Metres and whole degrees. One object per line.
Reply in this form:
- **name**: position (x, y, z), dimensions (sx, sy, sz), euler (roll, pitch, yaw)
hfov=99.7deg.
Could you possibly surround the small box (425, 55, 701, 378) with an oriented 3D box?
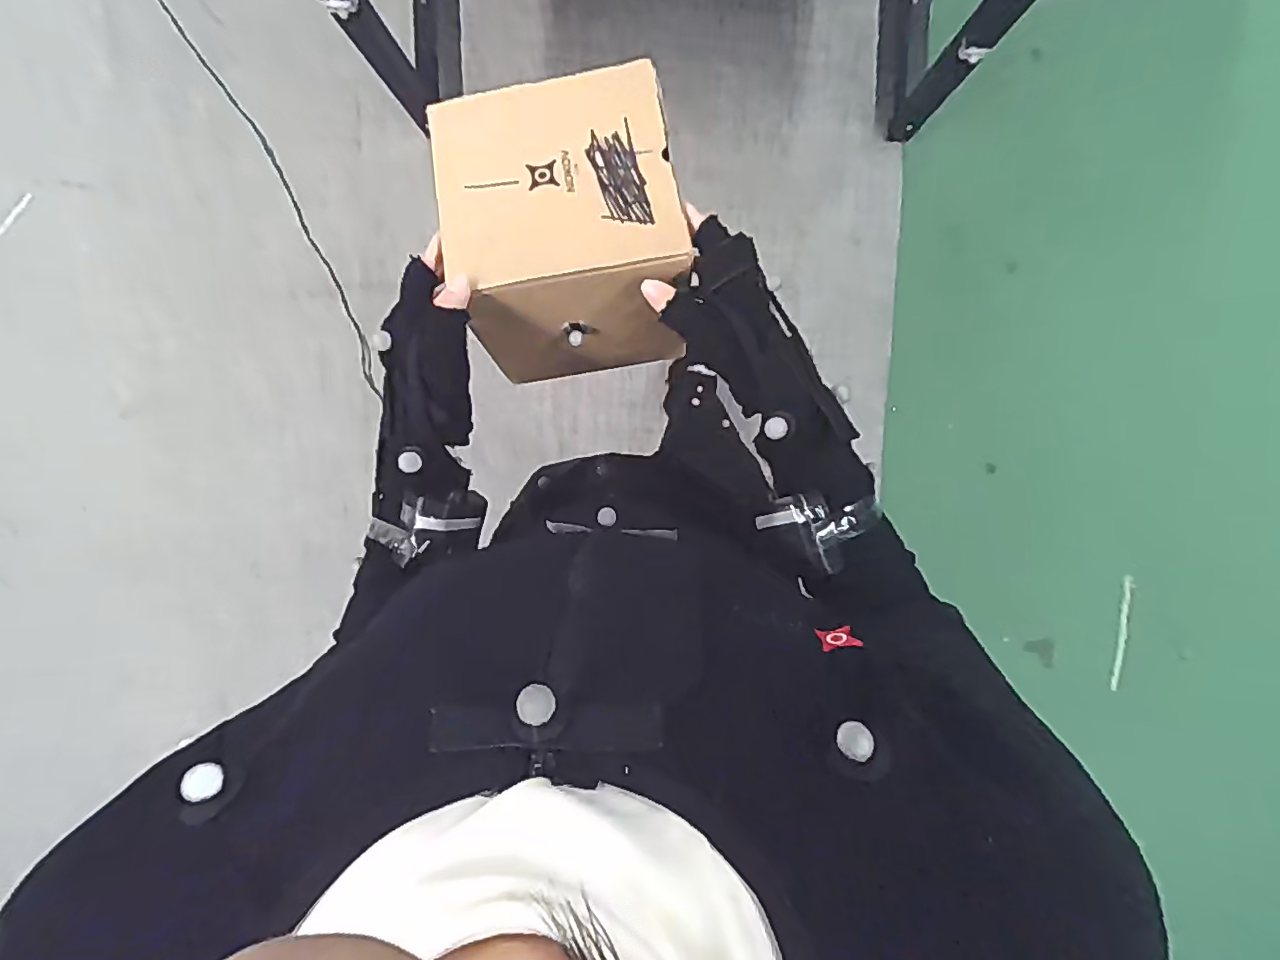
- **small box**: position (-0.057, -0.205, 0.463), dimensions (0.179, 0.176, 0.168), euler (-12, 79, -1)
